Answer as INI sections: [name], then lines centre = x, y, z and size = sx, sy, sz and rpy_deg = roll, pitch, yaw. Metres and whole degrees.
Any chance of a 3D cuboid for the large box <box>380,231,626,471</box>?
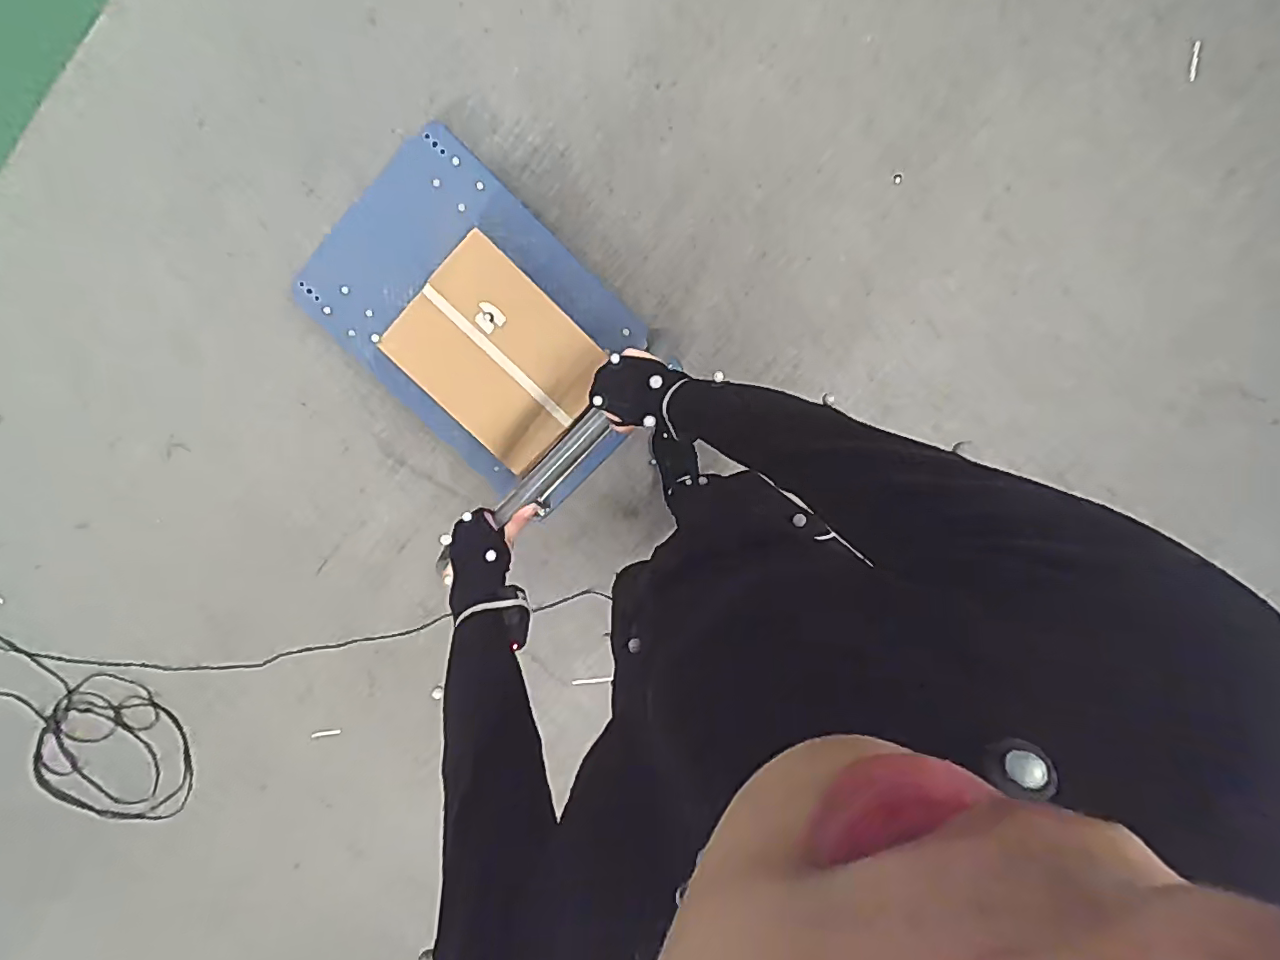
[large box]
centre = -0.283, -0.278, 1.252
size = 0.408, 0.320, 0.320
rpy_deg = 44, 97, -5
